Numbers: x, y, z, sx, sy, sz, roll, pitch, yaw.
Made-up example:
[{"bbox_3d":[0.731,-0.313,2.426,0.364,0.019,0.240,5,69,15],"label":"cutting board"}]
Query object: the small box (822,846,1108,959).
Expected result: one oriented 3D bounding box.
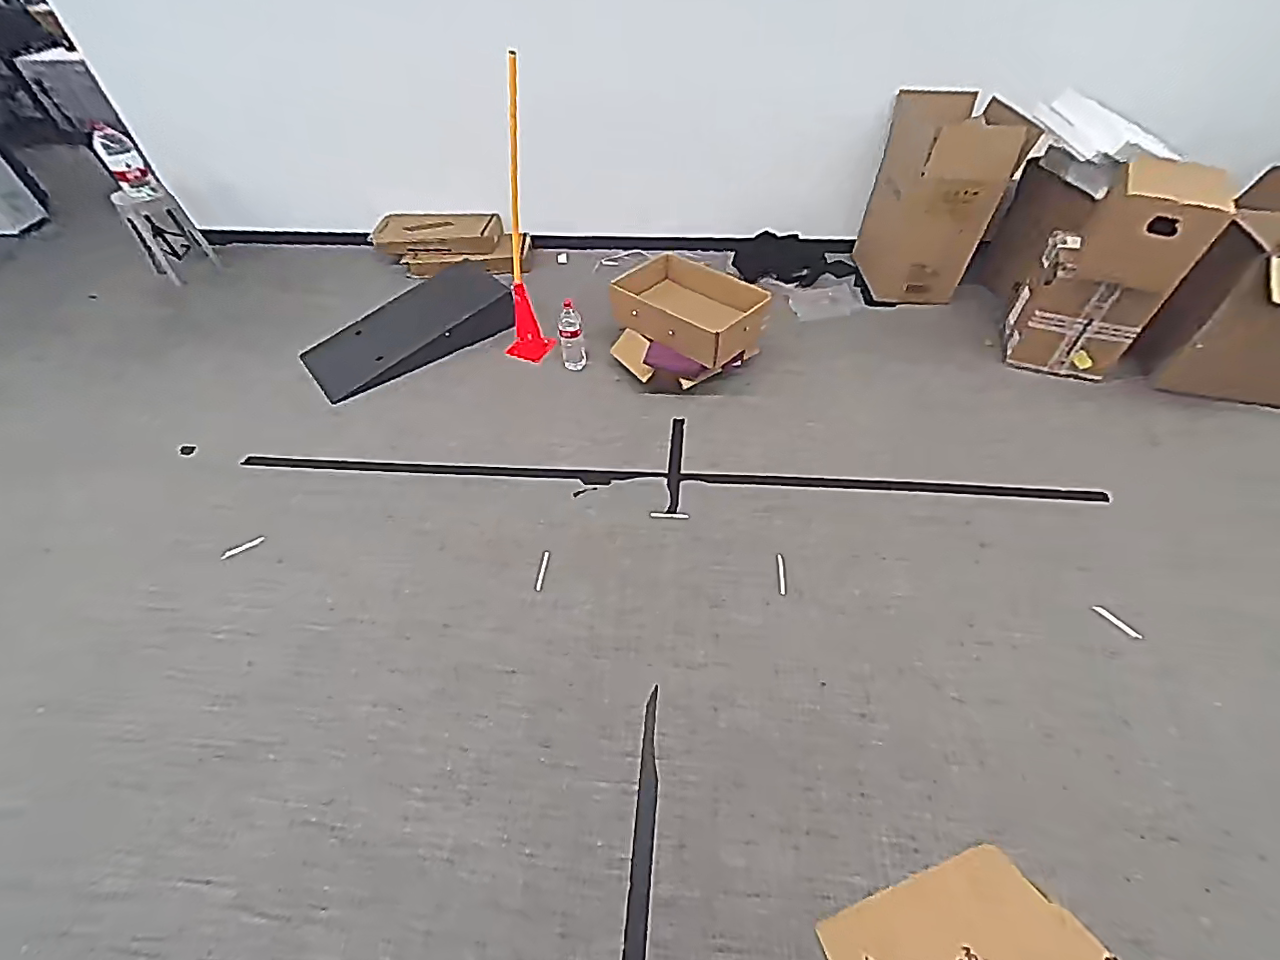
[{"bbox_3d":[0.272,0.437,0.404,0.179,0.176,0.168,-22,6,-3],"label":"small box"}]
